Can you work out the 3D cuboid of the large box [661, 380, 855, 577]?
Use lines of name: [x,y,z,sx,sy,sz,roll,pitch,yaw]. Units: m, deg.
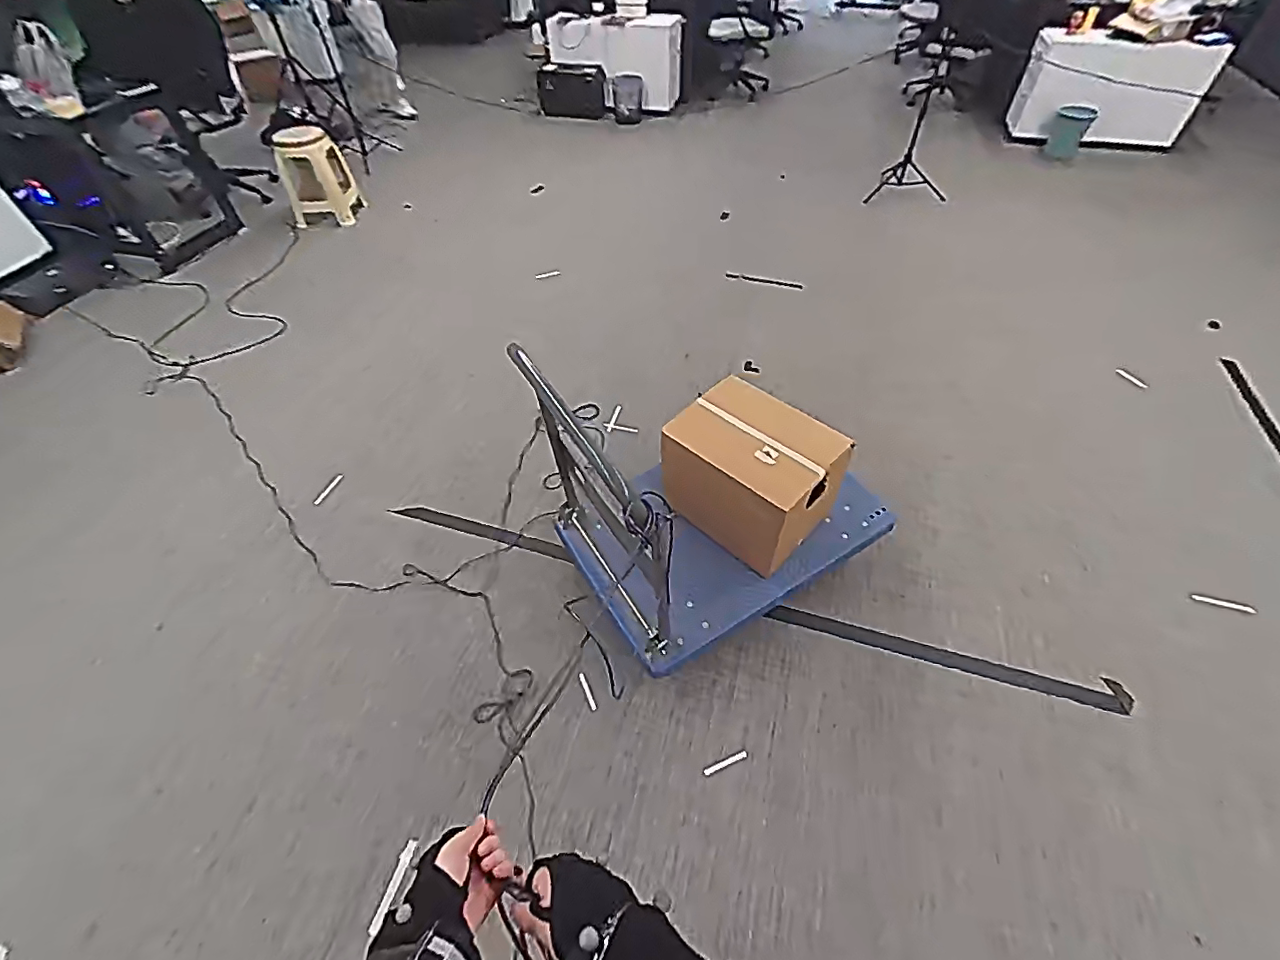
large box: [0.307,-0.009,1.520,0.408,0.320,0.320,36,60,27]
